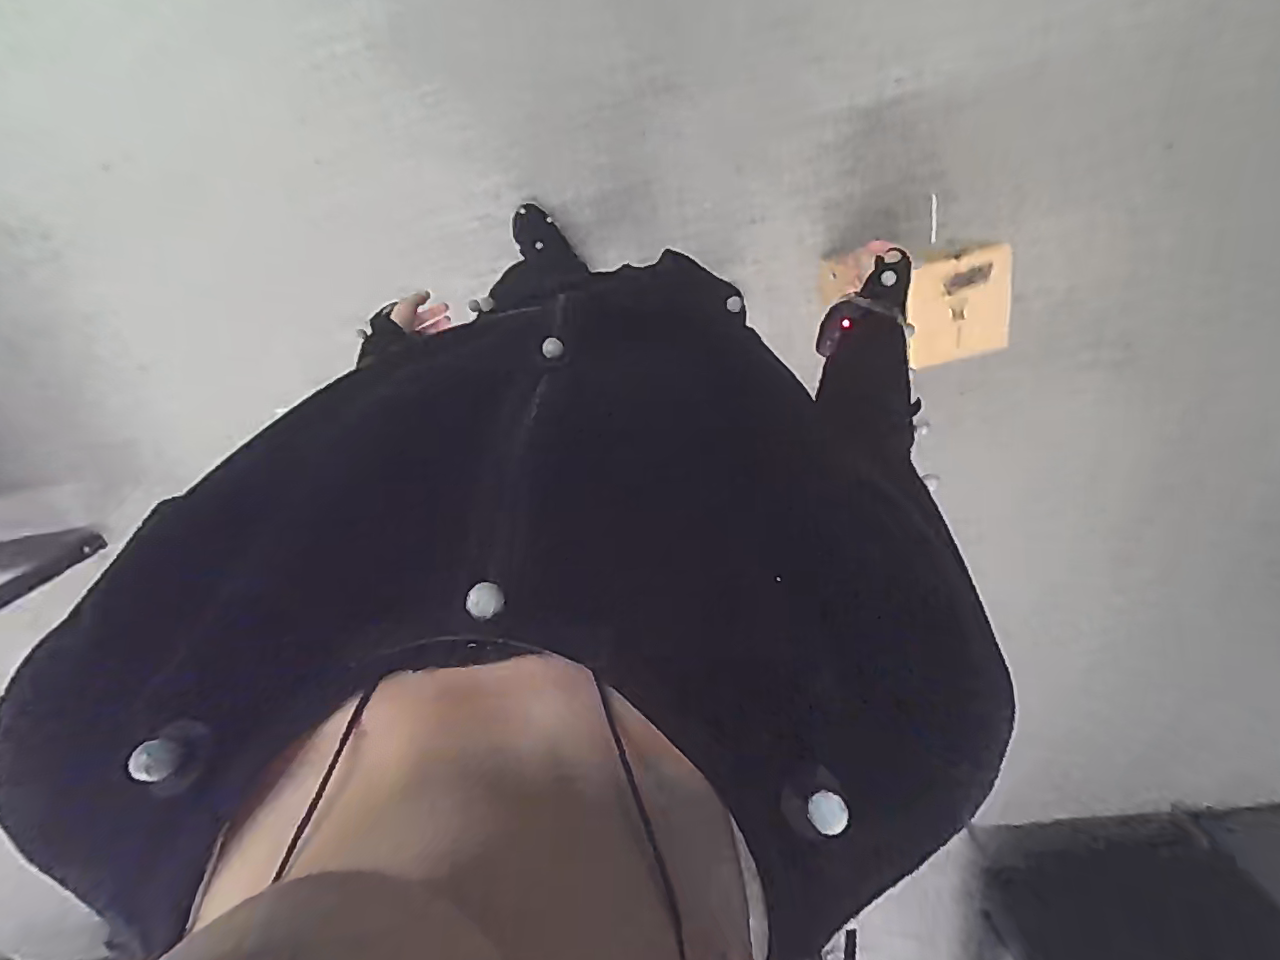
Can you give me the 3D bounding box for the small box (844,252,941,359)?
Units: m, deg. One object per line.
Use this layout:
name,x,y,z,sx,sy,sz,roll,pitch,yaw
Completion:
small box,0.536,-0.368,1.130,0.179,0.176,0.168,-12,115,8

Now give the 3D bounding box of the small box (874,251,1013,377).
small box,0.536,-0.306,0.976,0.168,0.176,0.179,-12,115,7
